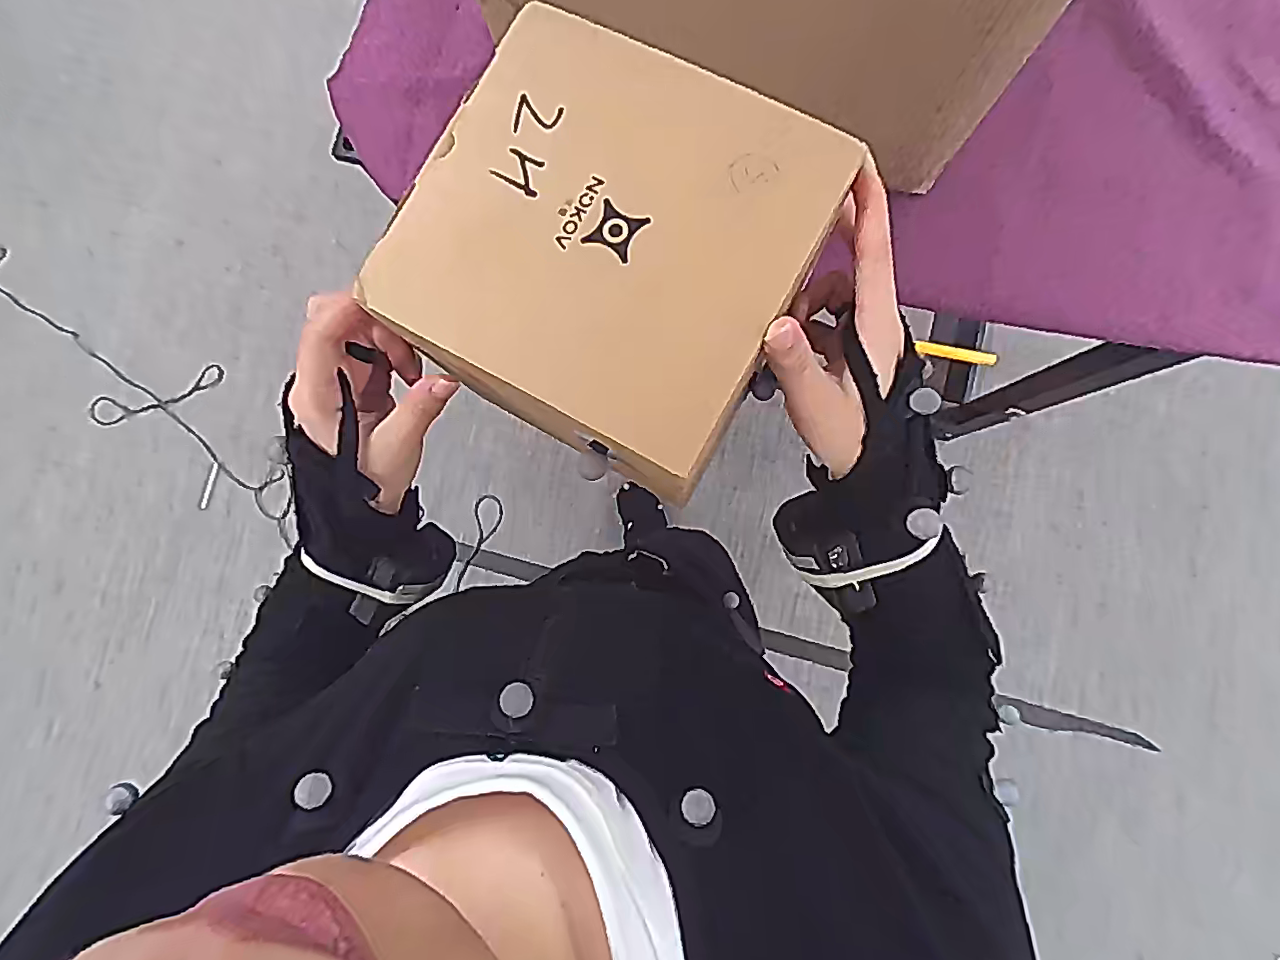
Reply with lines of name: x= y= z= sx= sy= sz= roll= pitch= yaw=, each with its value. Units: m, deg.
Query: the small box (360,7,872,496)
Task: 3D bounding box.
small box: x=-0.007 y=-0.101 z=0.317 sx=0.179 sy=0.176 sz=0.168 roll=29 pitch=86 yaw=7
